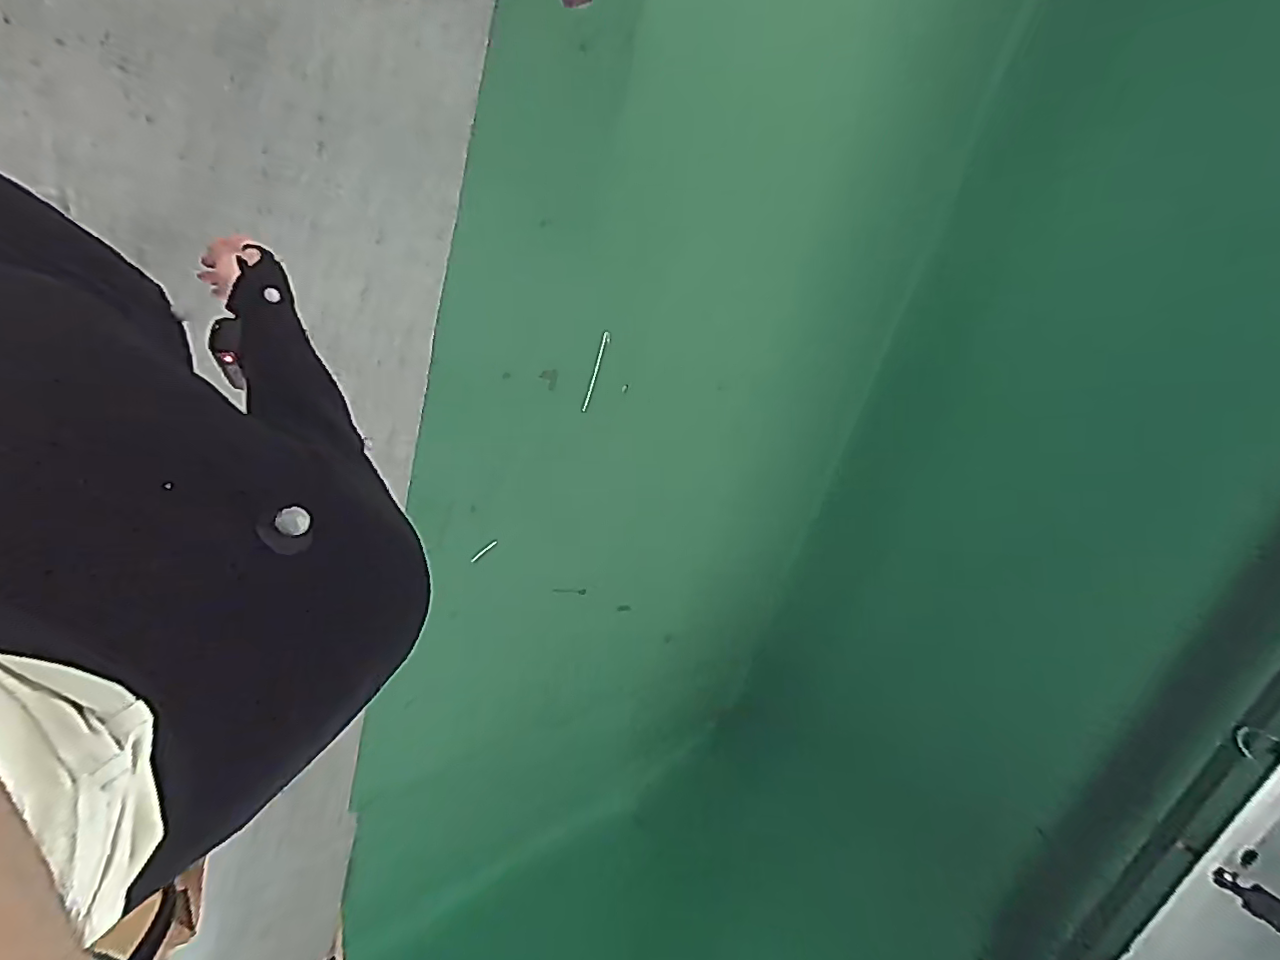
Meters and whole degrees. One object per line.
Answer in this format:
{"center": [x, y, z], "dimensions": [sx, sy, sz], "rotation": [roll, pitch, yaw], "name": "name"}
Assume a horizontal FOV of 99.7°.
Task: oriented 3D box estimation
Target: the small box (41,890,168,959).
{"center": [-1.017, 0.945, 1.027], "dimensions": [0.168, 0.176, 0.179], "rotation": [0, 114, -48], "name": "small box"}
